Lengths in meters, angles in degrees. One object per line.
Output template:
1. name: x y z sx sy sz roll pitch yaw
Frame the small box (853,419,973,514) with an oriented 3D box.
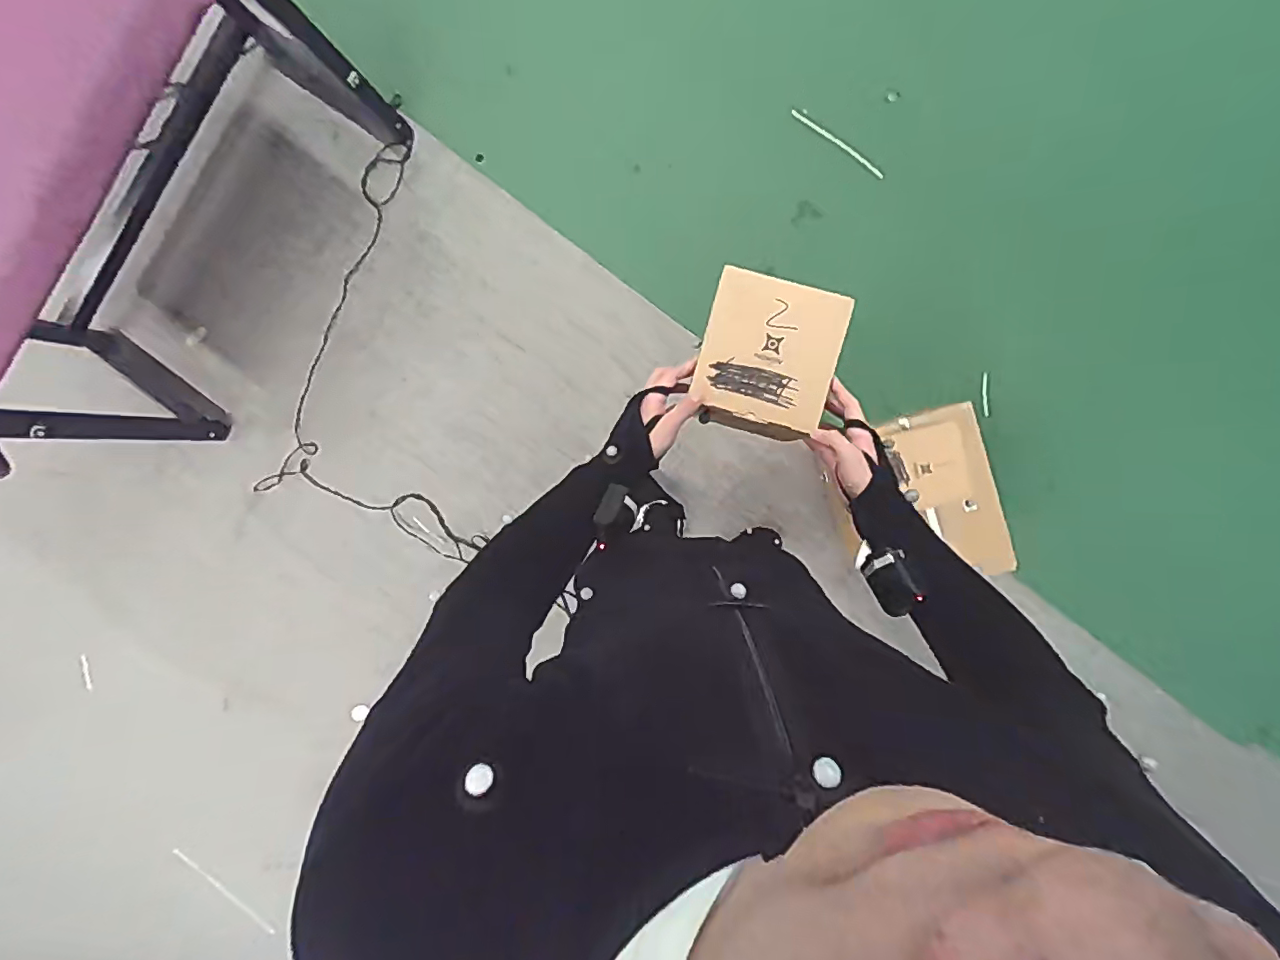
1. small box: 0.578 -0.030 1.172 0.179 0.176 0.168 -13 93 7
